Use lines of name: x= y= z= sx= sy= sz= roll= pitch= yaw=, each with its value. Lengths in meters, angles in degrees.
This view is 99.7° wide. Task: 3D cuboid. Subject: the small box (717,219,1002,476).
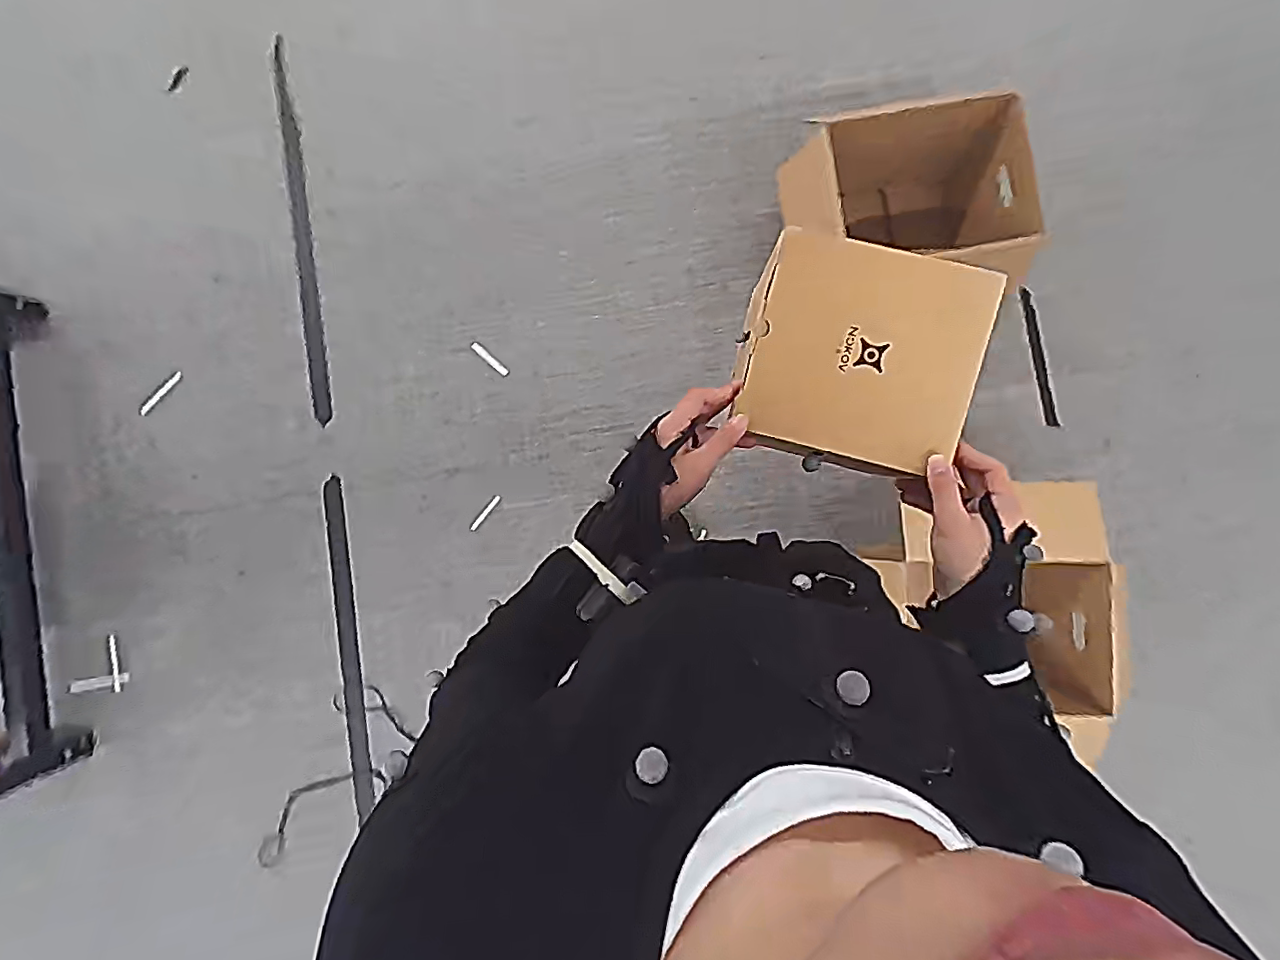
small box: x=0.177 y=-0.108 z=0.498 sx=0.179 sy=0.176 sz=0.168 roll=15 pitch=95 yaw=4
